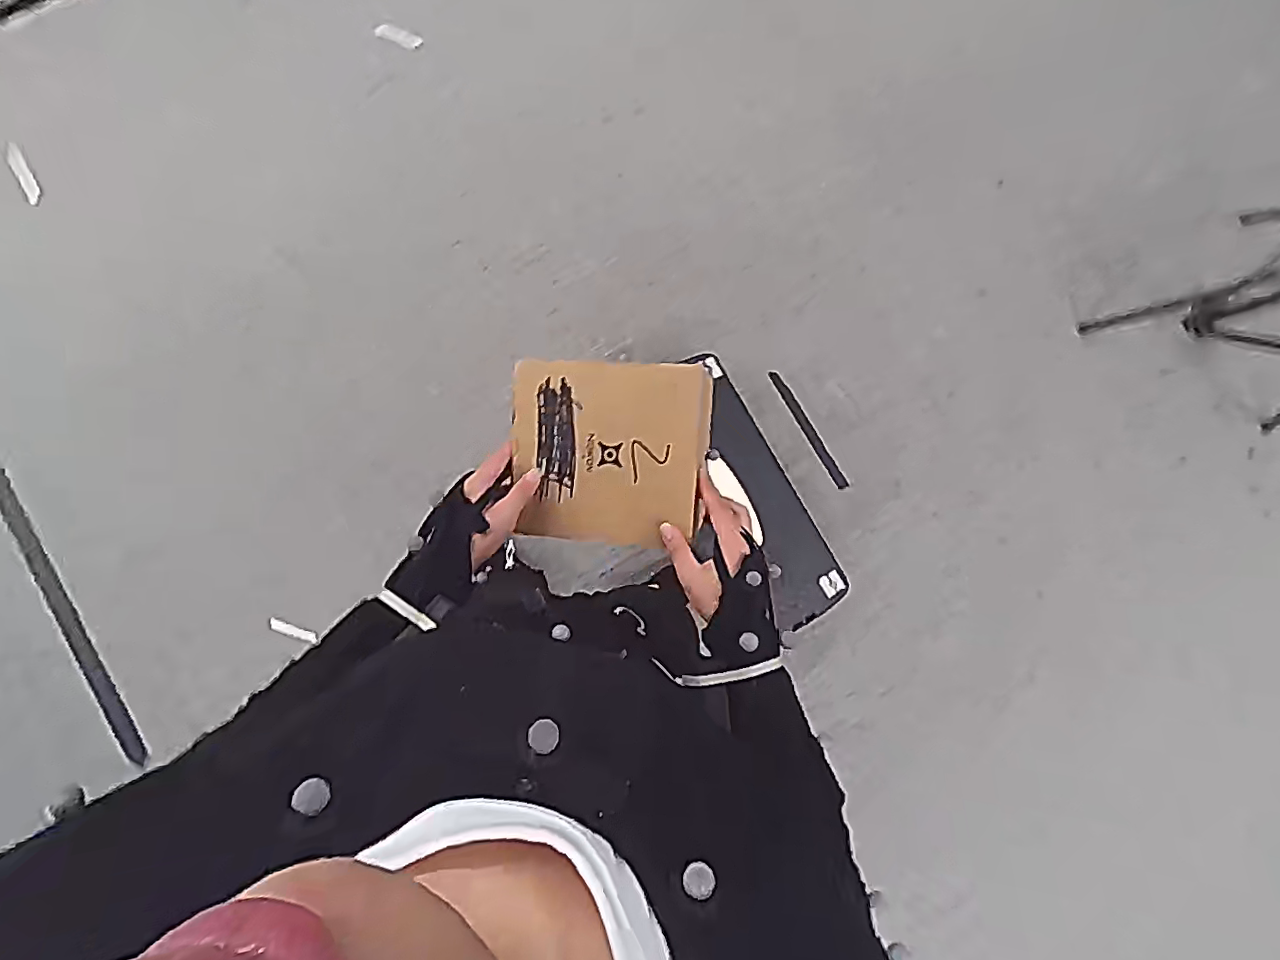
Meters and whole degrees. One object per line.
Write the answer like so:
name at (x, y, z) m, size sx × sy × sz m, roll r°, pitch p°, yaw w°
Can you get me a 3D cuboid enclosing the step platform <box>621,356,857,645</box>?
step platform at (0.228, 0.048, 1.316) m, size 0.286 × 0.204 × 0.684 m, roll -30°, pitch 87°, yaw -6°
